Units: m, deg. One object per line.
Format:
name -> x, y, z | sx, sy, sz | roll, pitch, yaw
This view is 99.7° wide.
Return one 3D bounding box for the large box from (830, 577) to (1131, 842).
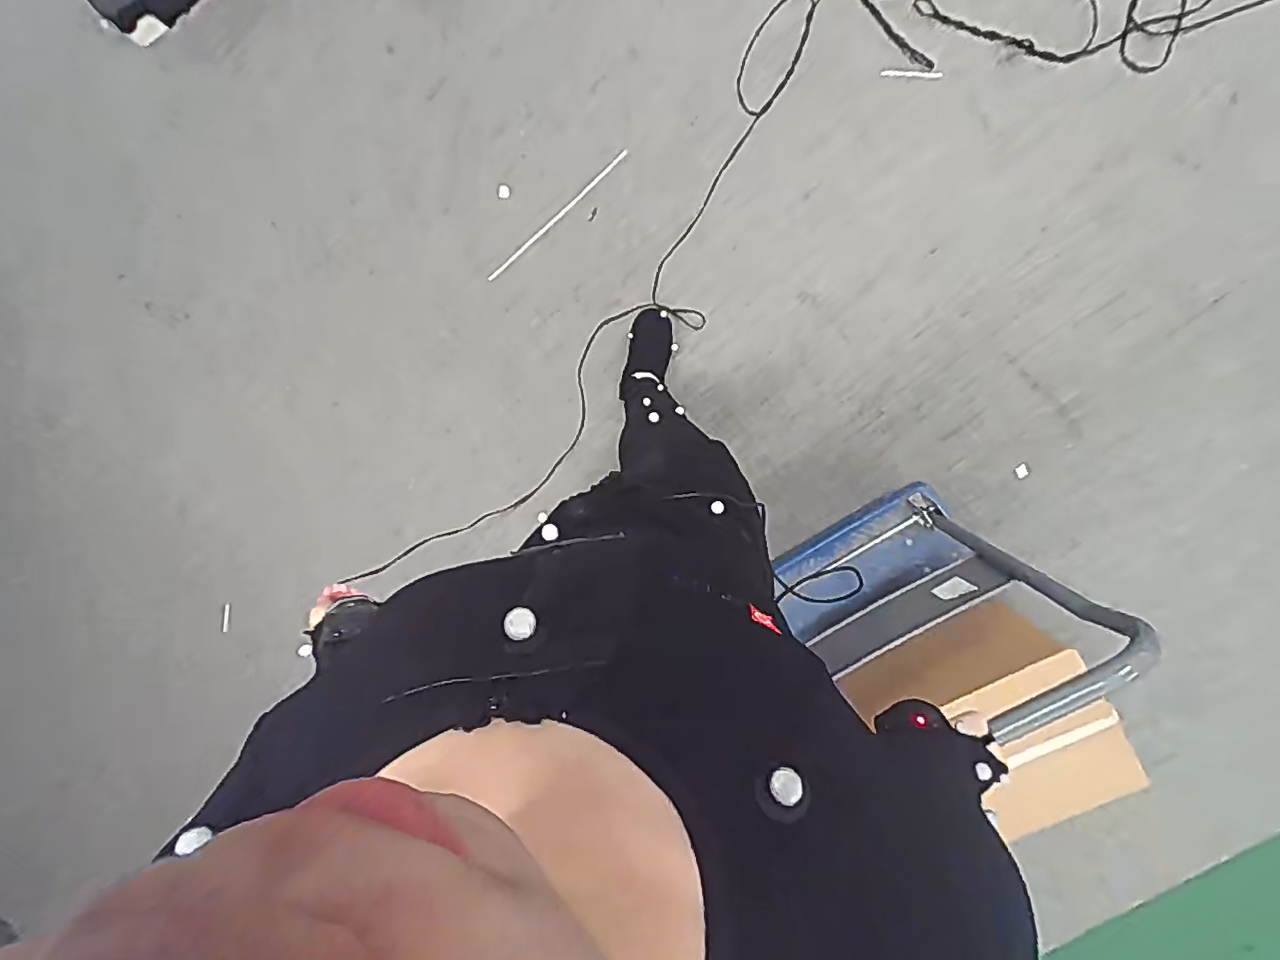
large box -> 0.701, 0.477, 1.187 | 0.408, 0.320, 0.320 | -31, 94, 10
